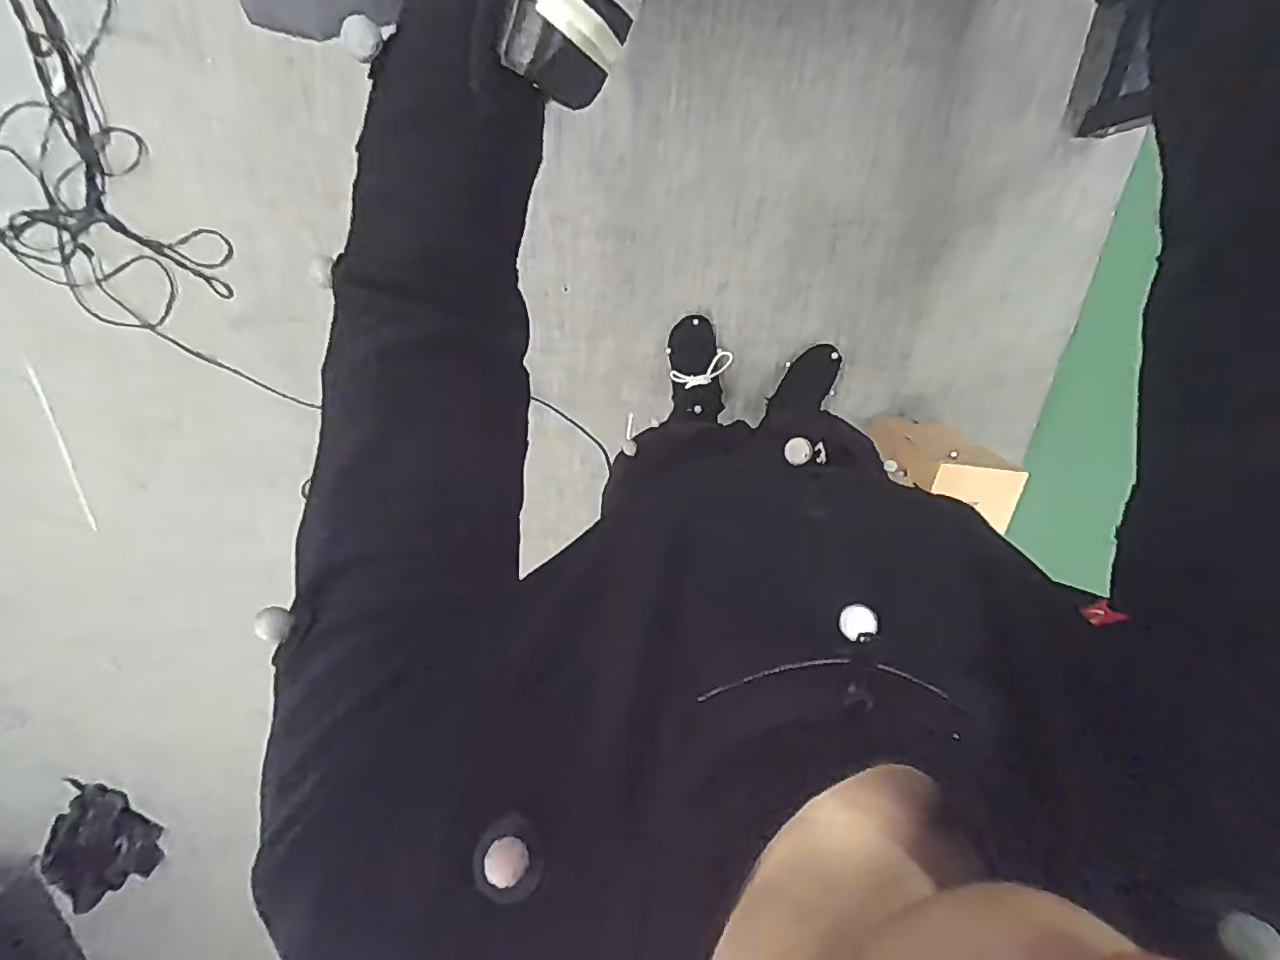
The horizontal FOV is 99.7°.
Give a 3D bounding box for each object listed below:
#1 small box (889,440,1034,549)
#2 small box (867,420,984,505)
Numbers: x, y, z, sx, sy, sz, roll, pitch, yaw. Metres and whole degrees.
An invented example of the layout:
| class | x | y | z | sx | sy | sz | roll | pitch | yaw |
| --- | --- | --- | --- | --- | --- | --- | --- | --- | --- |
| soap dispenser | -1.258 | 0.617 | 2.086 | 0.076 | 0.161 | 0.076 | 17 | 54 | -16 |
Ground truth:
| class | x | y | z | sx | sy | sz | roll | pitch | yaw |
| --- | --- | --- | --- | --- | --- | --- | --- | --- | --- |
| small box | 0.651 | 0.025 | 1.118 | 0.179 | 0.176 | 0.168 | 6 | 112 | 0 |
| small box | 0.656 | -0.039 | 1.270 | 0.179 | 0.176 | 0.168 | 5 | 112 | 2 |
